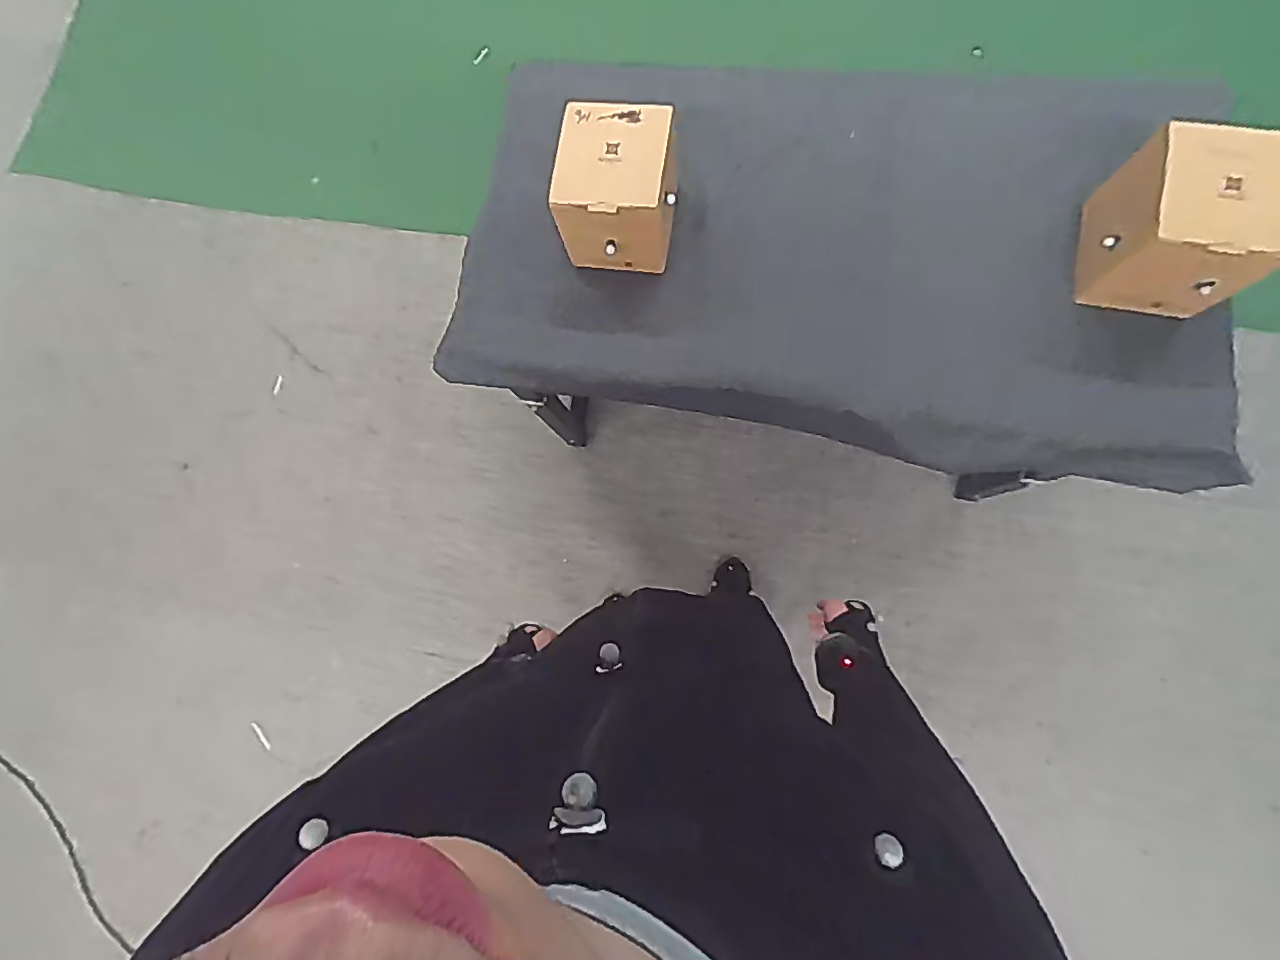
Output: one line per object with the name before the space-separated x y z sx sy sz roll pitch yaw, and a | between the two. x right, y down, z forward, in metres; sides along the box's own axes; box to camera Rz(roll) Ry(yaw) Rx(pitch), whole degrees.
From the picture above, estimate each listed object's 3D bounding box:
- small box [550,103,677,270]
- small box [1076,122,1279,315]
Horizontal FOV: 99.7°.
small box | -0.032 -0.464 0.875 0.168 0.176 0.179 8 81 7
small box | 0.760 -0.356 0.762 0.168 0.176 0.179 12 81 8
